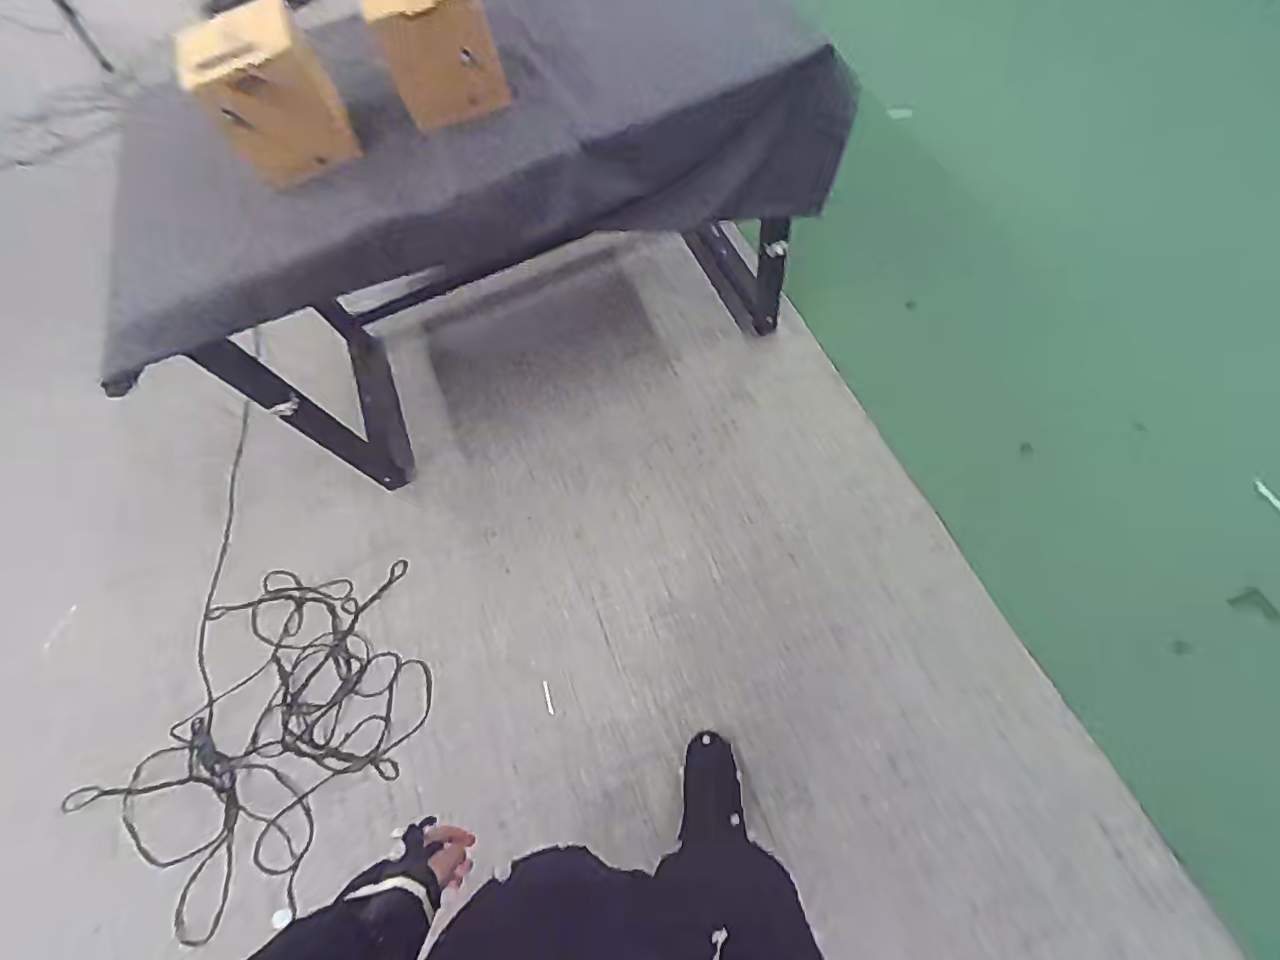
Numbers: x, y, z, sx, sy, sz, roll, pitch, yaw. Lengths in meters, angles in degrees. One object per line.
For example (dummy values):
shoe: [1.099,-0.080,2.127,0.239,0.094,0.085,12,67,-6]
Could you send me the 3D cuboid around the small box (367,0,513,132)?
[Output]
small box: [-0.322,-0.706,0.887,0.168,0.176,0.179,-17,64,-1]
